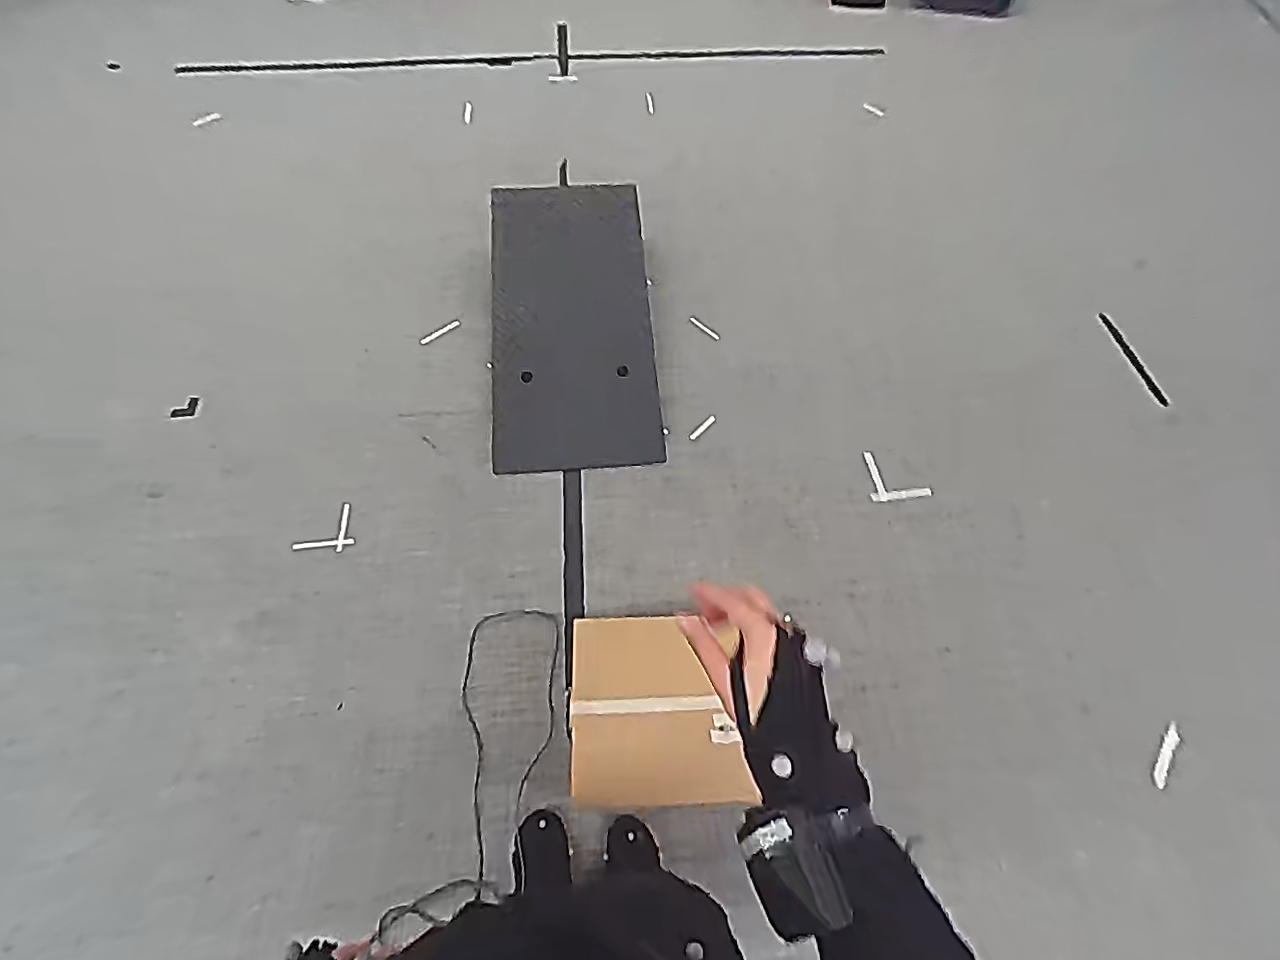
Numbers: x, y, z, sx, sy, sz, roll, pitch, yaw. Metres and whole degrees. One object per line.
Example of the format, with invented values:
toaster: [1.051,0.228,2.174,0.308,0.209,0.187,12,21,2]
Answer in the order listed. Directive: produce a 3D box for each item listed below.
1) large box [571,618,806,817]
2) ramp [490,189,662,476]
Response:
large box: [0.068,0.480,1.096,0.408,0.320,0.320,-1,62,-4]
ramp: [-0.216,-0.500,1.681,0.509,0.206,0.991,-5,63,-6]
